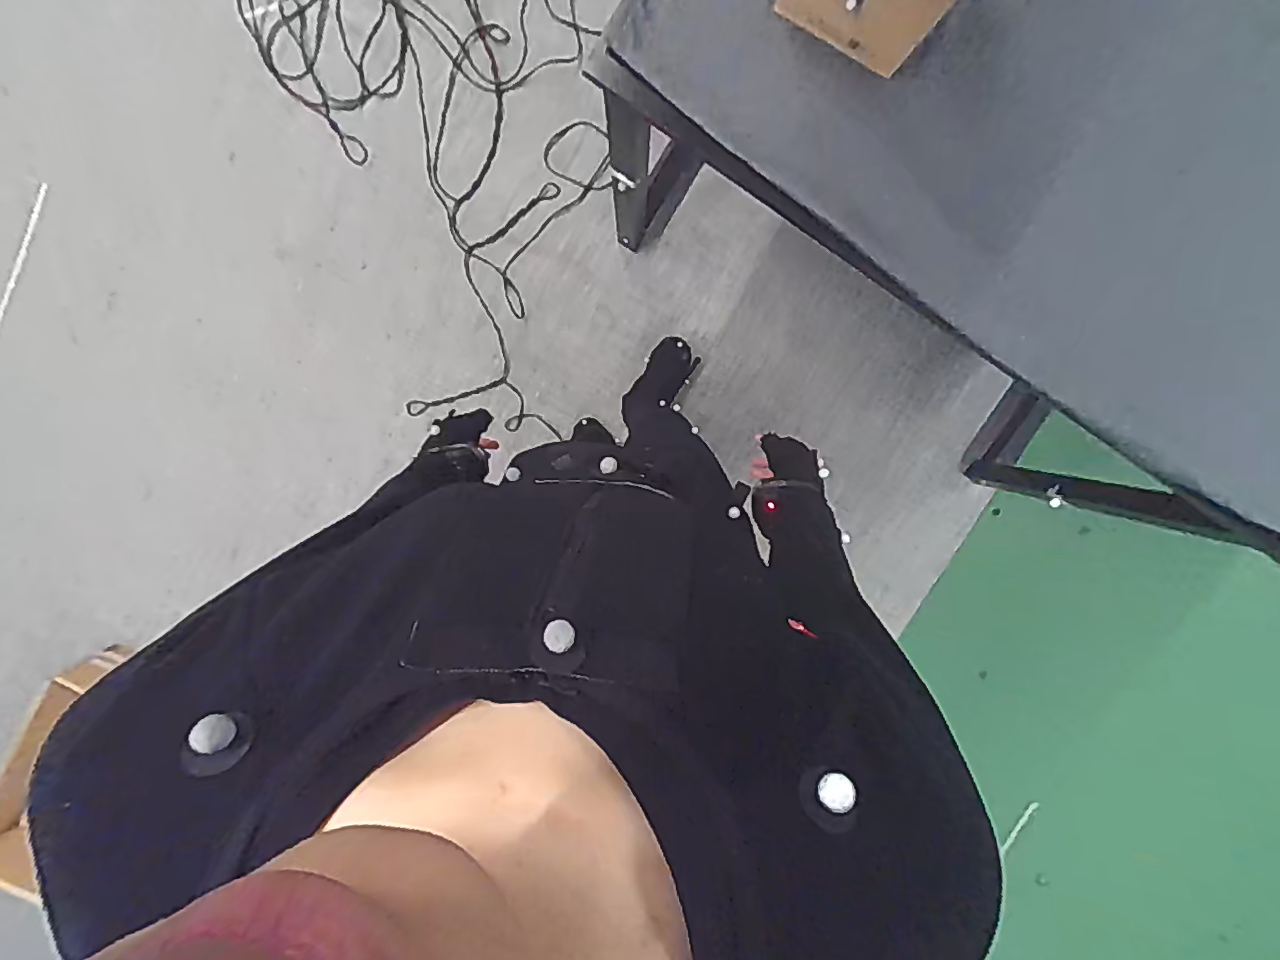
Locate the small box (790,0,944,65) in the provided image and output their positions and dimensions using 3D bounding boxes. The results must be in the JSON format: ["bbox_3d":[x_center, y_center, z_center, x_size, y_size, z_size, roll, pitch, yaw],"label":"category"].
[{"bbox_3d":[0.272,-0.596,0.566,0.168,0.176,0.179,26,97,-6],"label":"small box"}]
